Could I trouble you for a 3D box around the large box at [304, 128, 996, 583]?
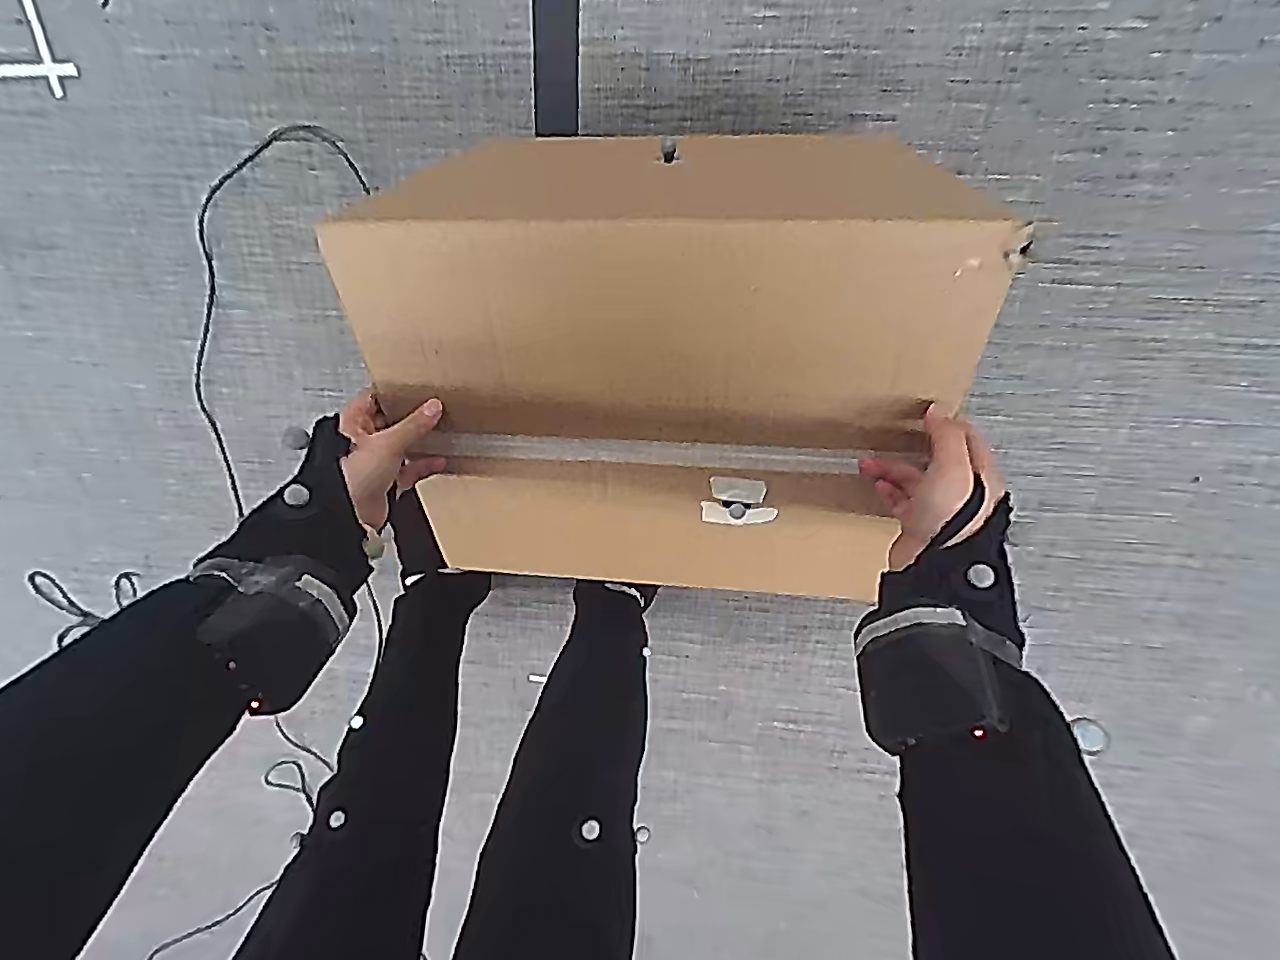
[{"bbox_3d":[0.012,-0.126,0.511,0.408,0.320,0.320,2,131,6],"label":"large box"}]
